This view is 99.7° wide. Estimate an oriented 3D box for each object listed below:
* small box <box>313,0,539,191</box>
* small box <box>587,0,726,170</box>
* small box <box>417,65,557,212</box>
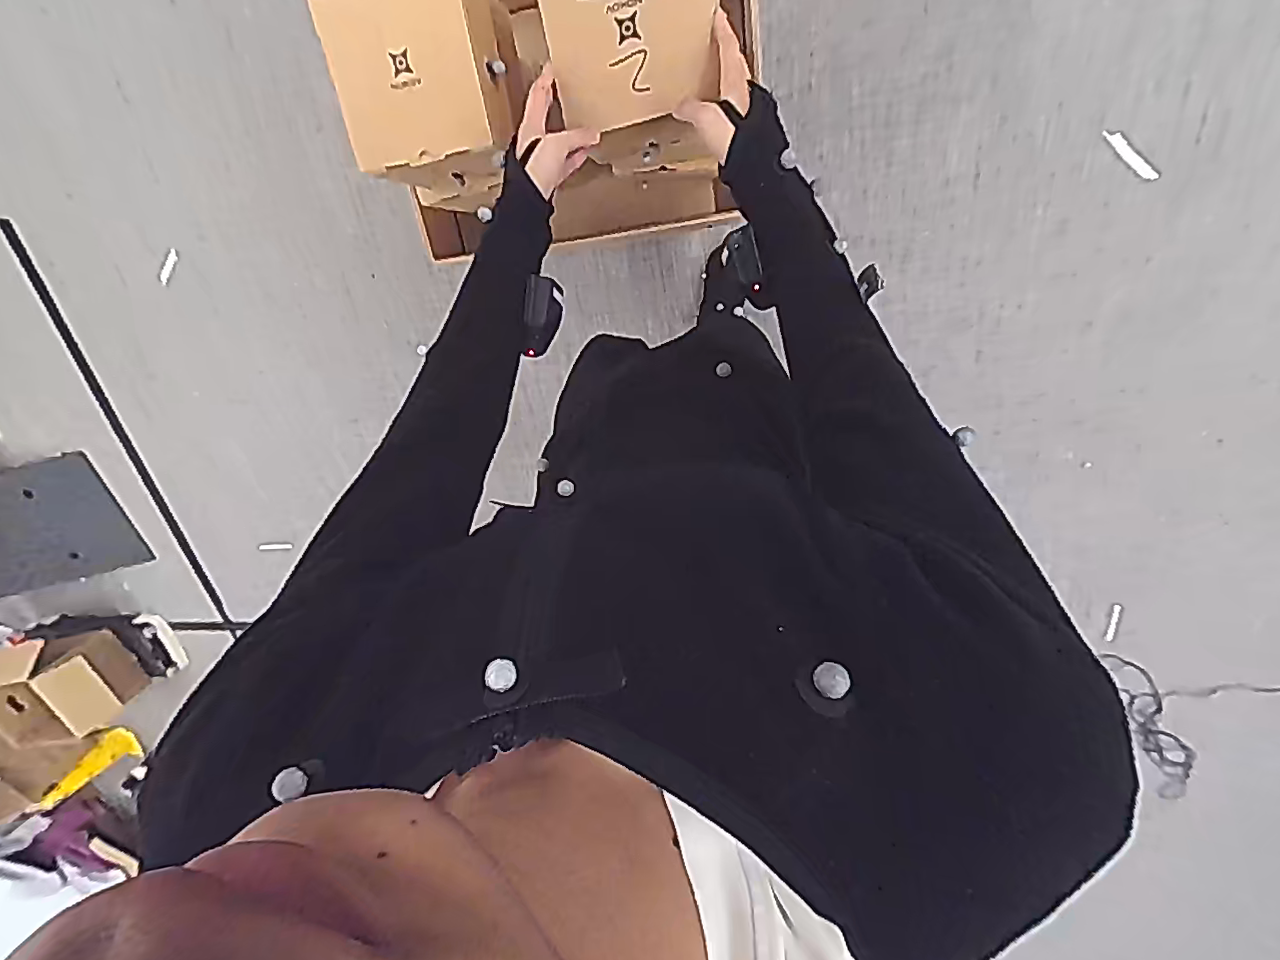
[{"bbox_3d":[-0.235,-0.462,0.644,0.168,0.176,0.179,-6,113,10],"label":"small box"},{"bbox_3d":[0.032,-0.541,0.739,0.168,0.176,0.179,-1,113,10],"label":"small box"},{"bbox_3d":[-0.238,-0.512,0.801,0.168,0.176,0.179,-9,113,12],"label":"small box"}]
